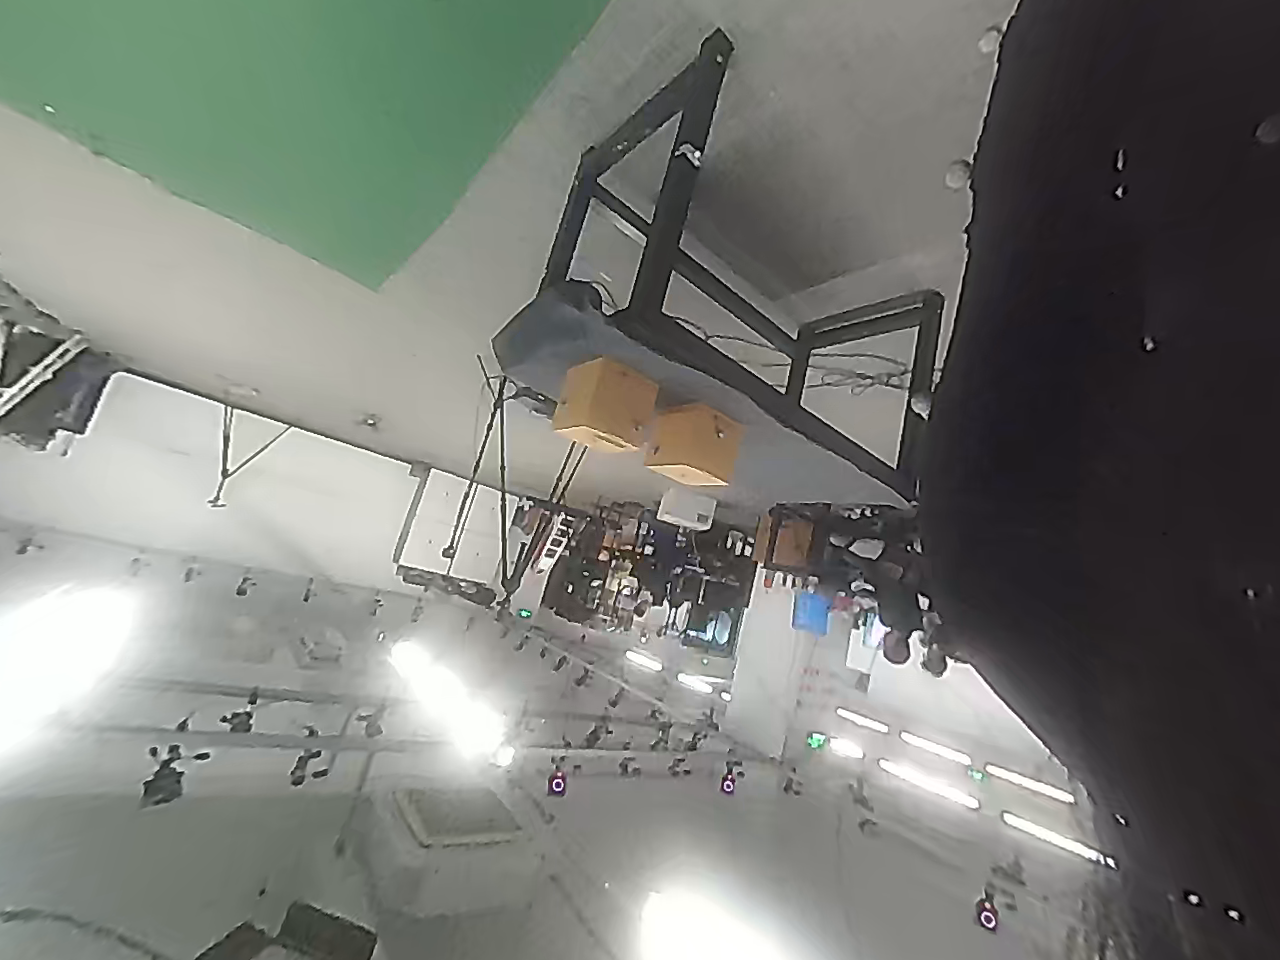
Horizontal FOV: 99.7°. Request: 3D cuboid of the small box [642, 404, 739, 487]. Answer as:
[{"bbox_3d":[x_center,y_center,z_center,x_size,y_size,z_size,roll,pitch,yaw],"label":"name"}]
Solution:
[{"bbox_3d":[0.136,-0.089,1.426,0.168,0.176,0.179,21,167,-34],"label":"small box"}]
